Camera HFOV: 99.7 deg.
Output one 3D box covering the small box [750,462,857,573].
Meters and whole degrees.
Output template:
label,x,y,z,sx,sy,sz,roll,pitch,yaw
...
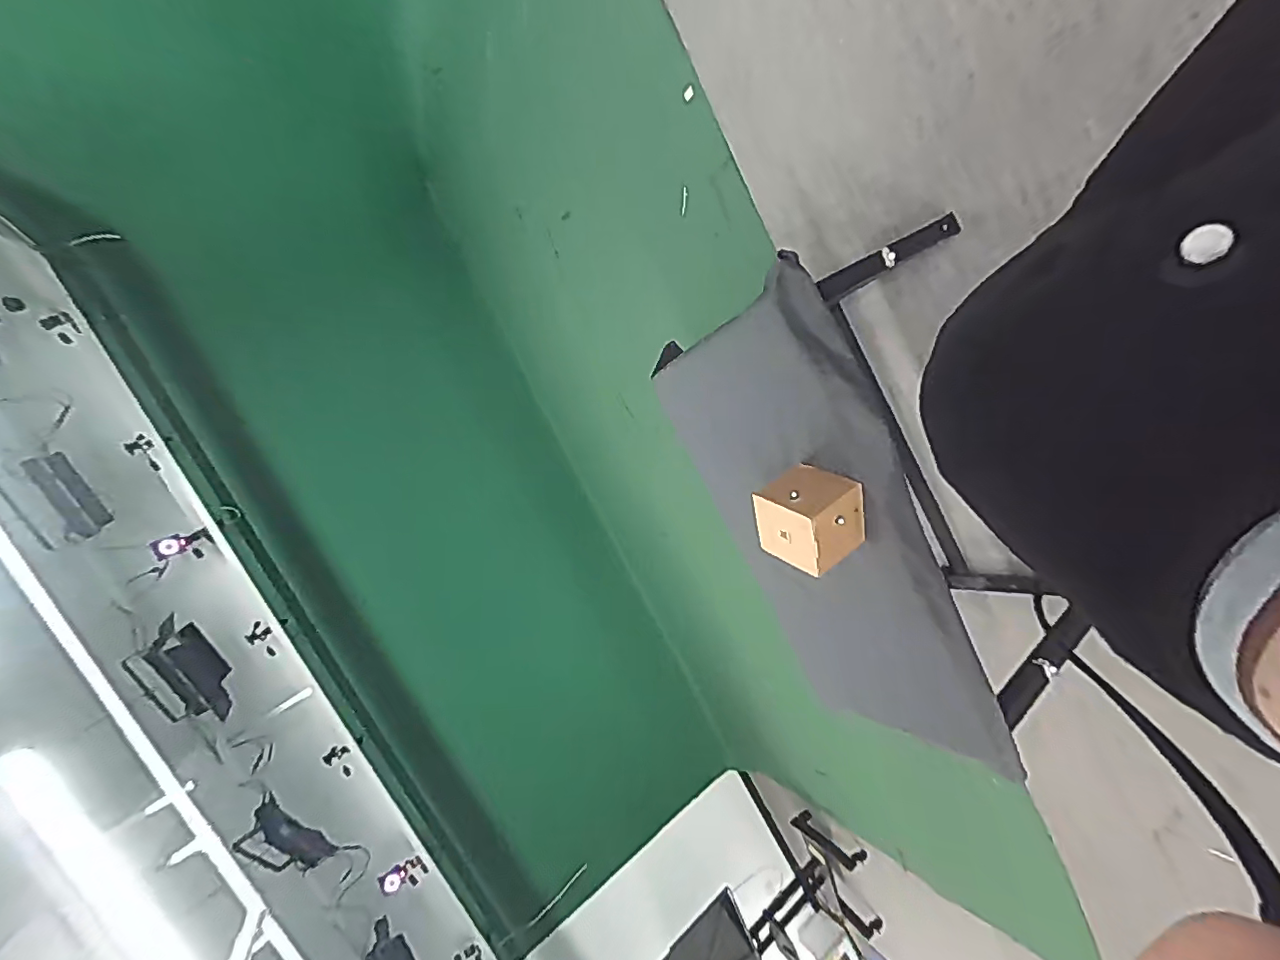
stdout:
label,x,y,z,sx,sy,sz,roll,pitch,yaw
small box,0.386,0.078,1.258,0.179,0.176,0.168,28,141,51
